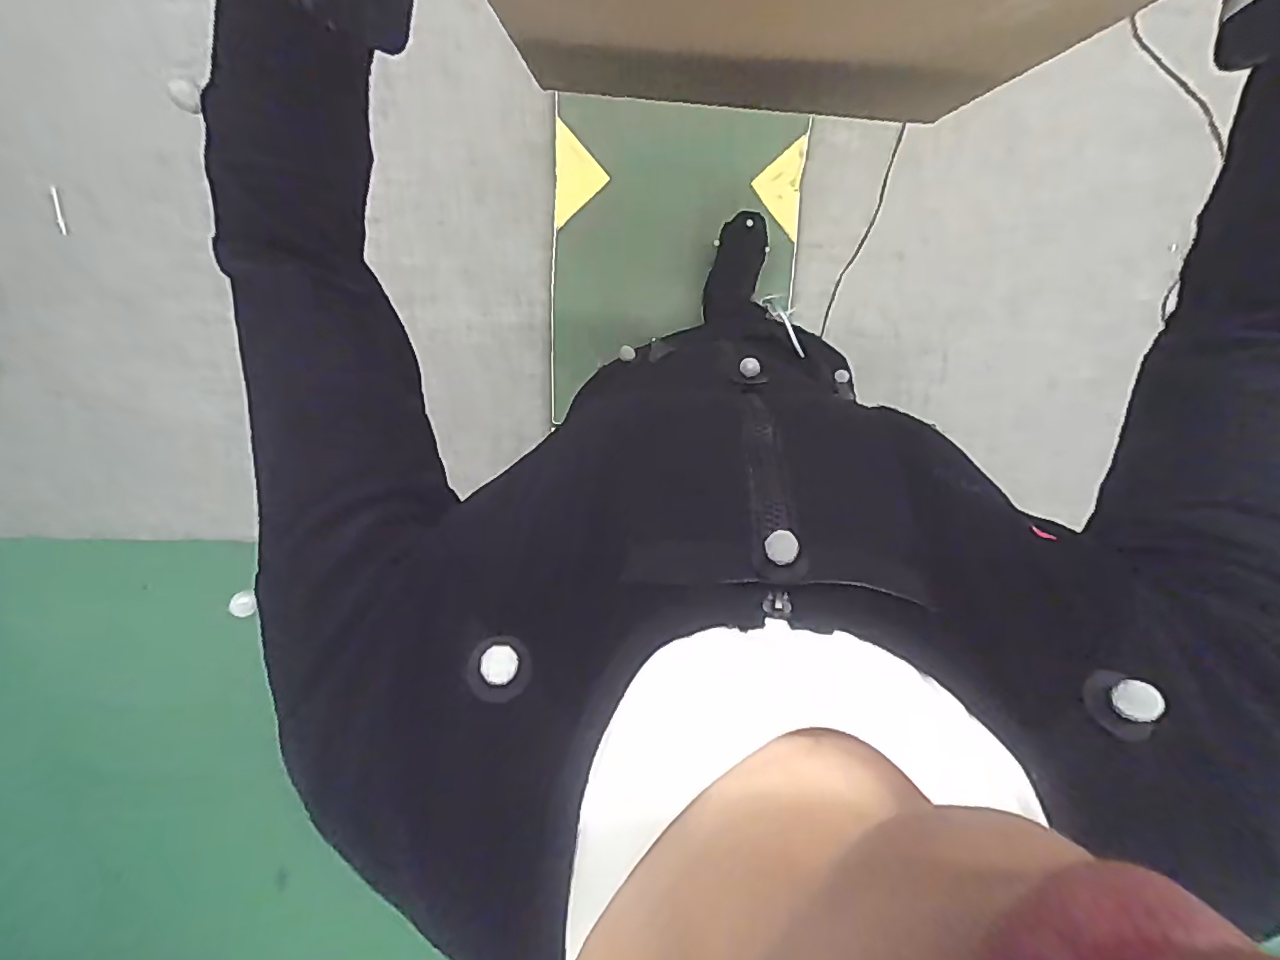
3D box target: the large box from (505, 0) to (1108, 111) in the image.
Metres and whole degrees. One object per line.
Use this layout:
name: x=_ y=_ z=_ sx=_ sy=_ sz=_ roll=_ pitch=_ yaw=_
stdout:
large box: x=0.107 y=-0.476 z=0.358 sx=0.408 sy=0.320 sz=0.320 roll=4 pitch=111 yaw=-1
